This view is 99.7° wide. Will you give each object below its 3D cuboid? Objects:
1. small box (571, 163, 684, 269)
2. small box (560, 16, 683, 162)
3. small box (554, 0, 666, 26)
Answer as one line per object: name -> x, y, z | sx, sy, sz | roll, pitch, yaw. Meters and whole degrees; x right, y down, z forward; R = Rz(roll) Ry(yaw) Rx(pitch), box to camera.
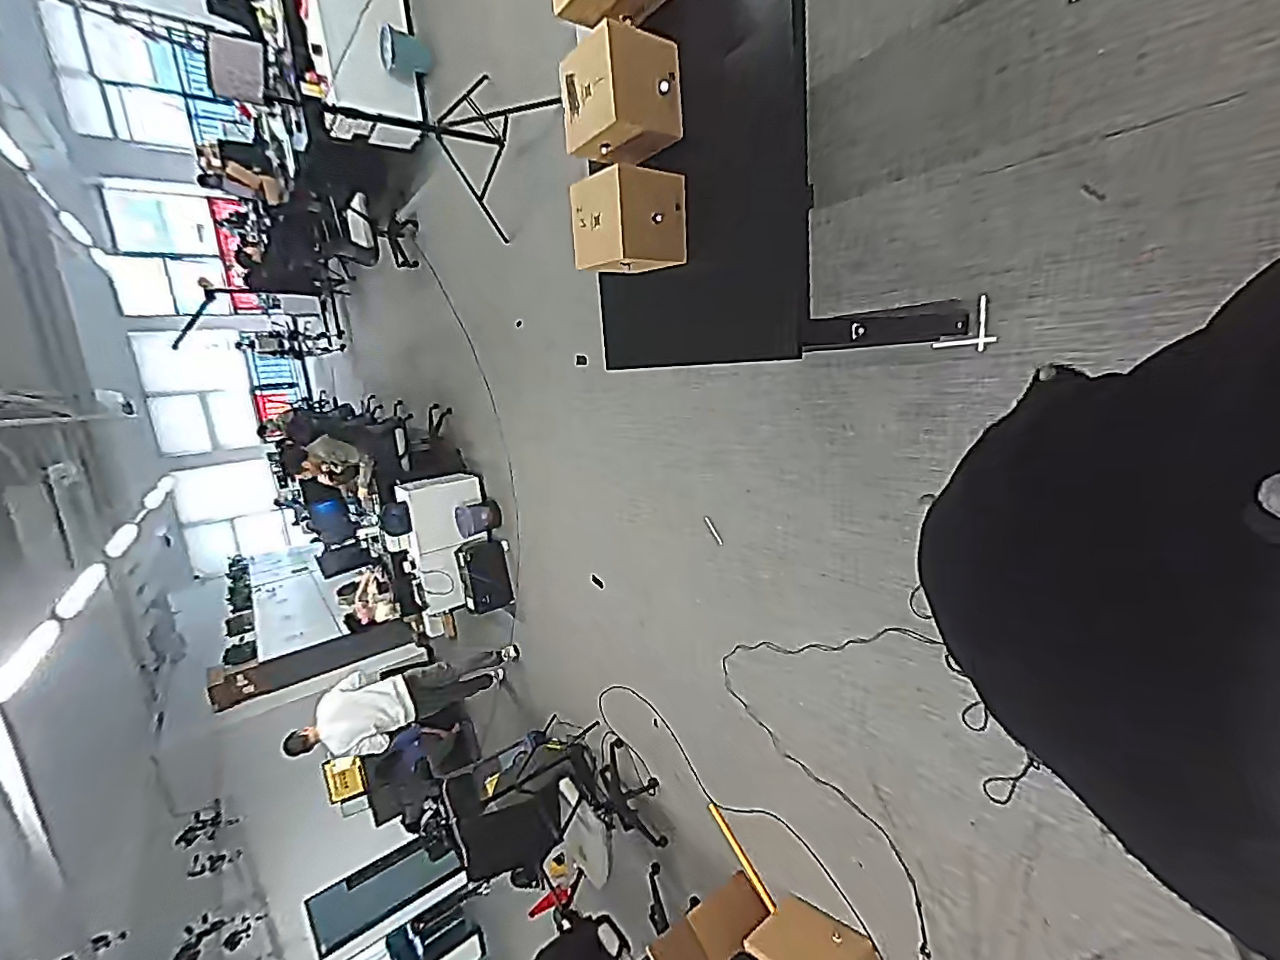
small box -> -0.022, -0.533, 1.115 | 0.179, 0.176, 0.168 | 16, 114, 51
small box -> -0.036, -0.750, 1.063 | 0.179, 0.176, 0.168 | 11, 110, 52
small box -> -0.055, -0.993, 1.011 | 0.168, 0.176, 0.179 | 13, 112, 53
